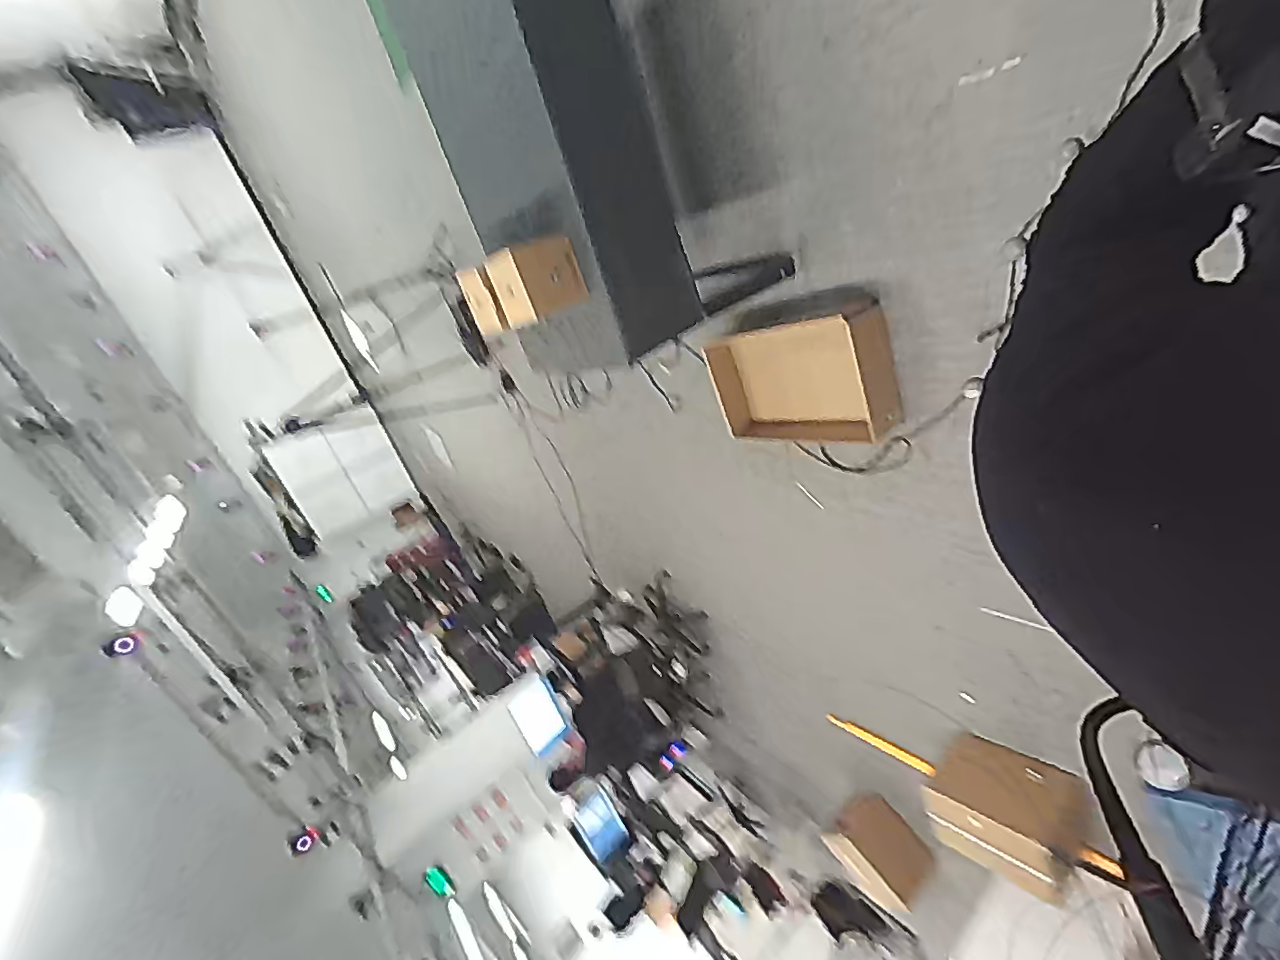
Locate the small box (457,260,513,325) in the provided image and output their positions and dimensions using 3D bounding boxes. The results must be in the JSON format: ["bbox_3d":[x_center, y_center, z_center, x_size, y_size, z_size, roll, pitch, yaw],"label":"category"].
[{"bbox_3d":[-0.393,-0.561,1.568,0.179,0.176,0.168,16,132,50],"label":"small box"}]

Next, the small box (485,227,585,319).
[{"bbox_3d":[-0.262,-0.528,1.384,0.179,0.176,0.168,13,129,54],"label":"small box"}]
